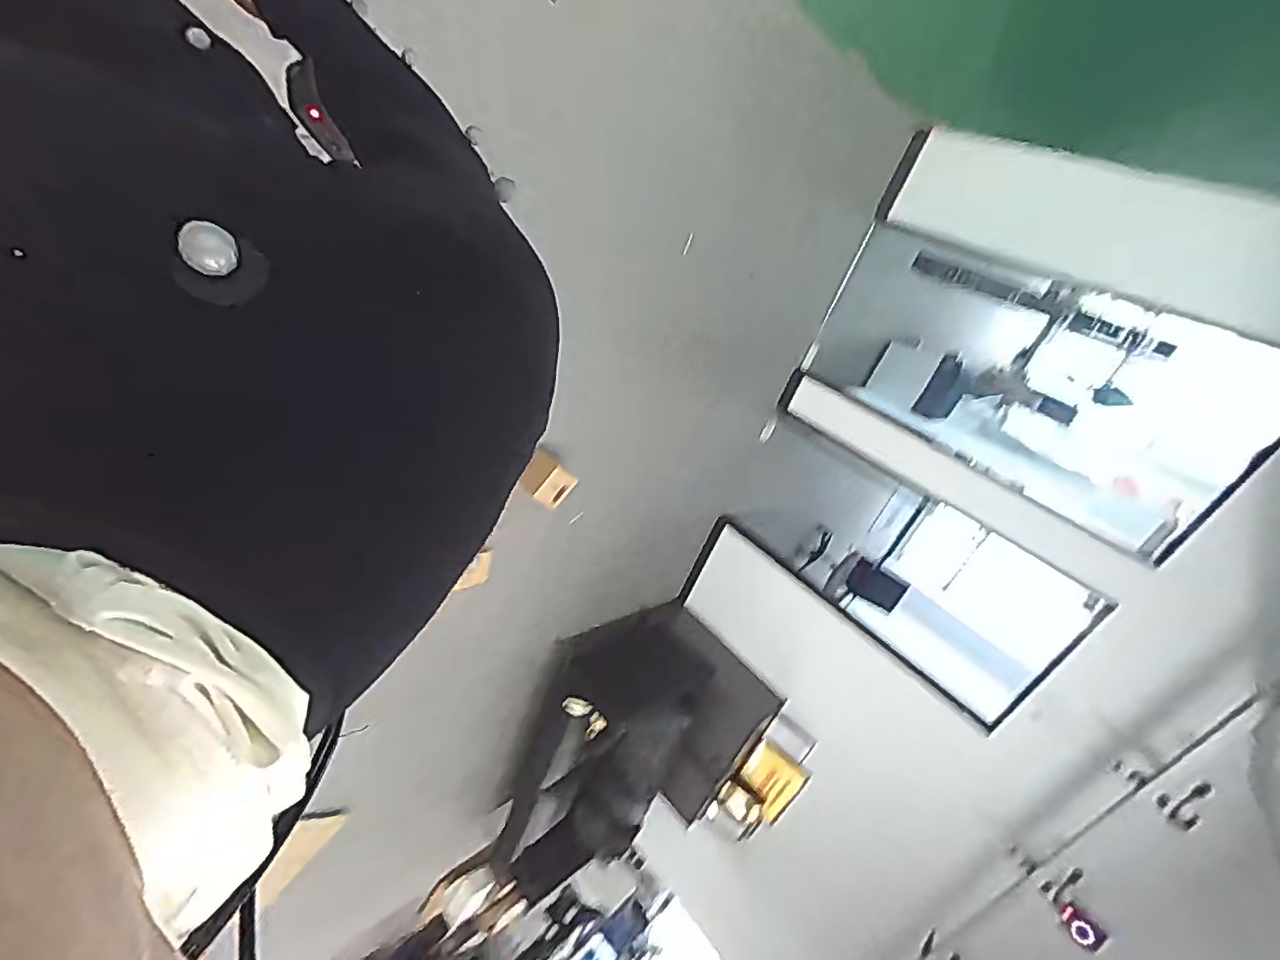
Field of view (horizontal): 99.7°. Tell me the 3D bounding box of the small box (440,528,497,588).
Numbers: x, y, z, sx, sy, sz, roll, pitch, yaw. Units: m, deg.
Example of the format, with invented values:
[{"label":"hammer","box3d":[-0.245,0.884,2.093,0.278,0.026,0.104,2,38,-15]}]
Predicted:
[{"label":"small box","box3d":[-0.730,0.321,2.287,0.168,0.176,0.179,-11,131,-44]}]
